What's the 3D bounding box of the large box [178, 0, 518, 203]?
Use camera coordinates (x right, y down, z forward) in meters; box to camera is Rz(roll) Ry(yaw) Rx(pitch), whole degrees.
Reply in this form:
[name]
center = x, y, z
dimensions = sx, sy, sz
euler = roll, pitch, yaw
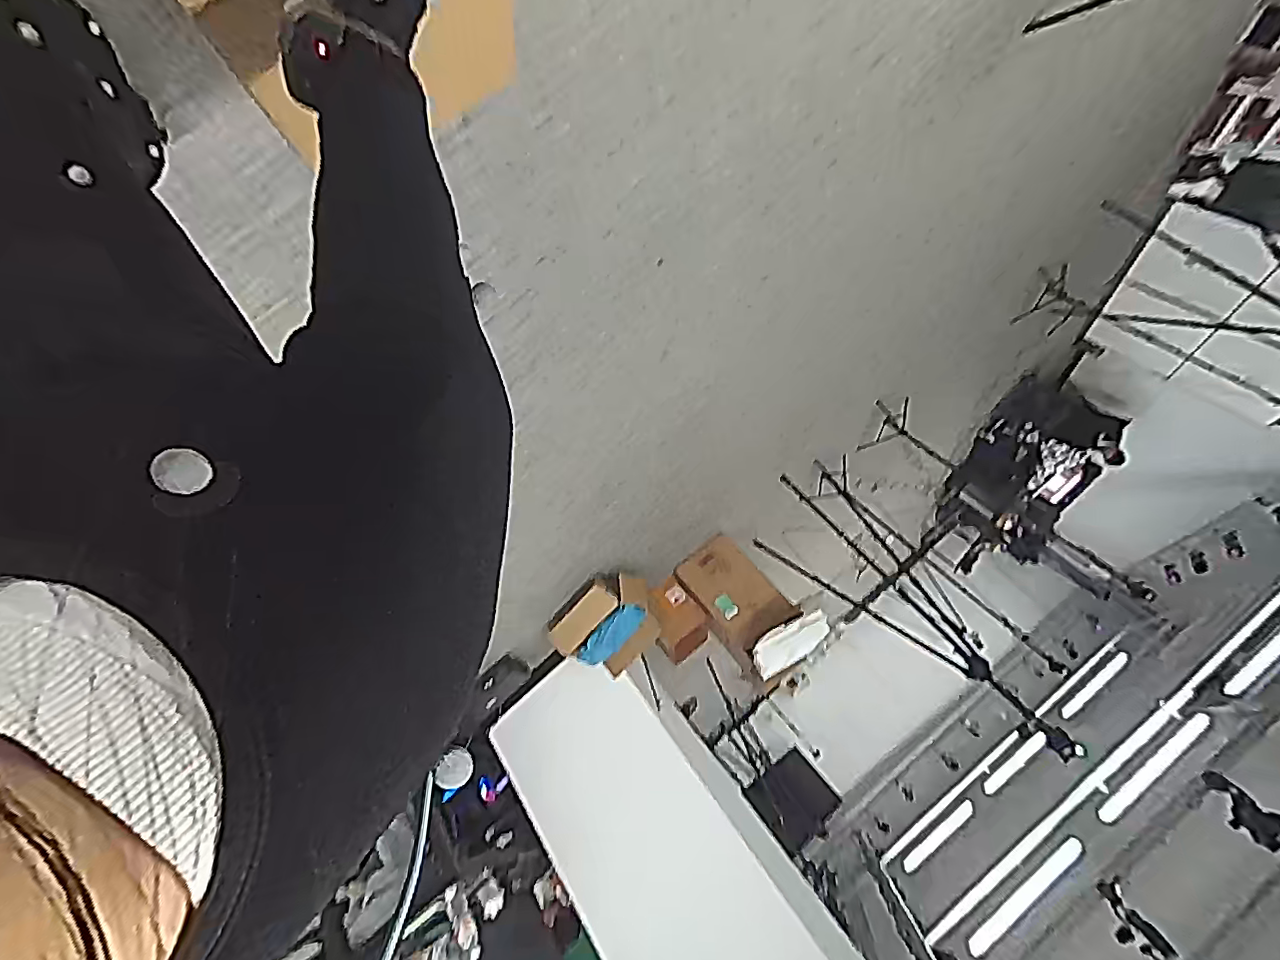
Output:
[large box]
center = -0.384, -0.621, 0.598
dimensions = 0.320, 0.408, 0.320
euler = -38, -172, -8
